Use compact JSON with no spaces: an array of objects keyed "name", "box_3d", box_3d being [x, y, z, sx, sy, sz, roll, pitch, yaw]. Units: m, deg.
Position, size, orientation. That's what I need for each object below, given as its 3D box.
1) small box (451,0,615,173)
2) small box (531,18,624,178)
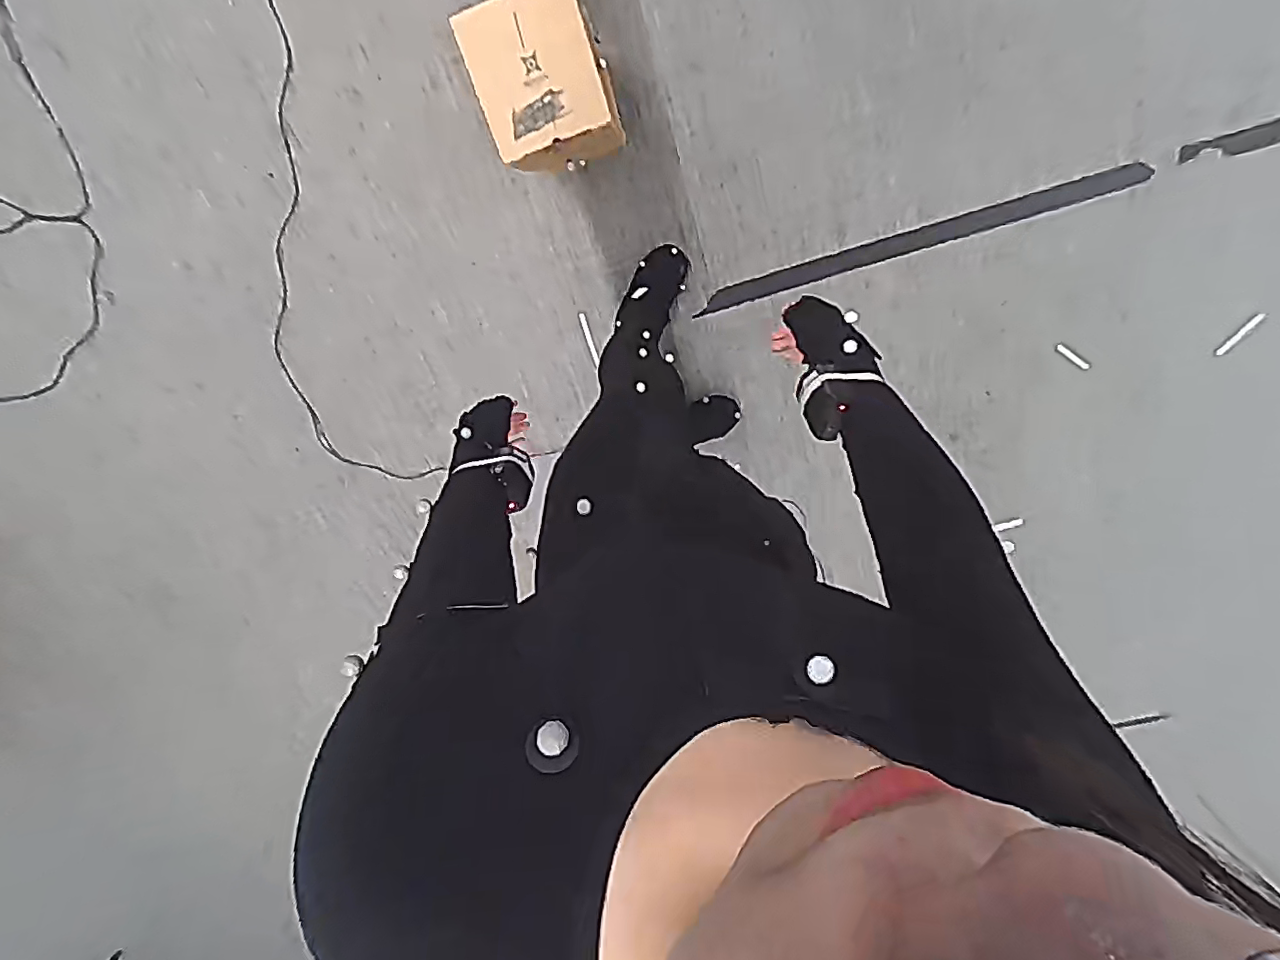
[{"name":"small box","box_3d":[-0.140,-0.569,0.792,0.168,0.176,0.179,-16,115,9]},{"name":"small box","box_3d":[-0.132,-0.645,0.937,0.168,0.176,0.179,-17,115,9]}]
